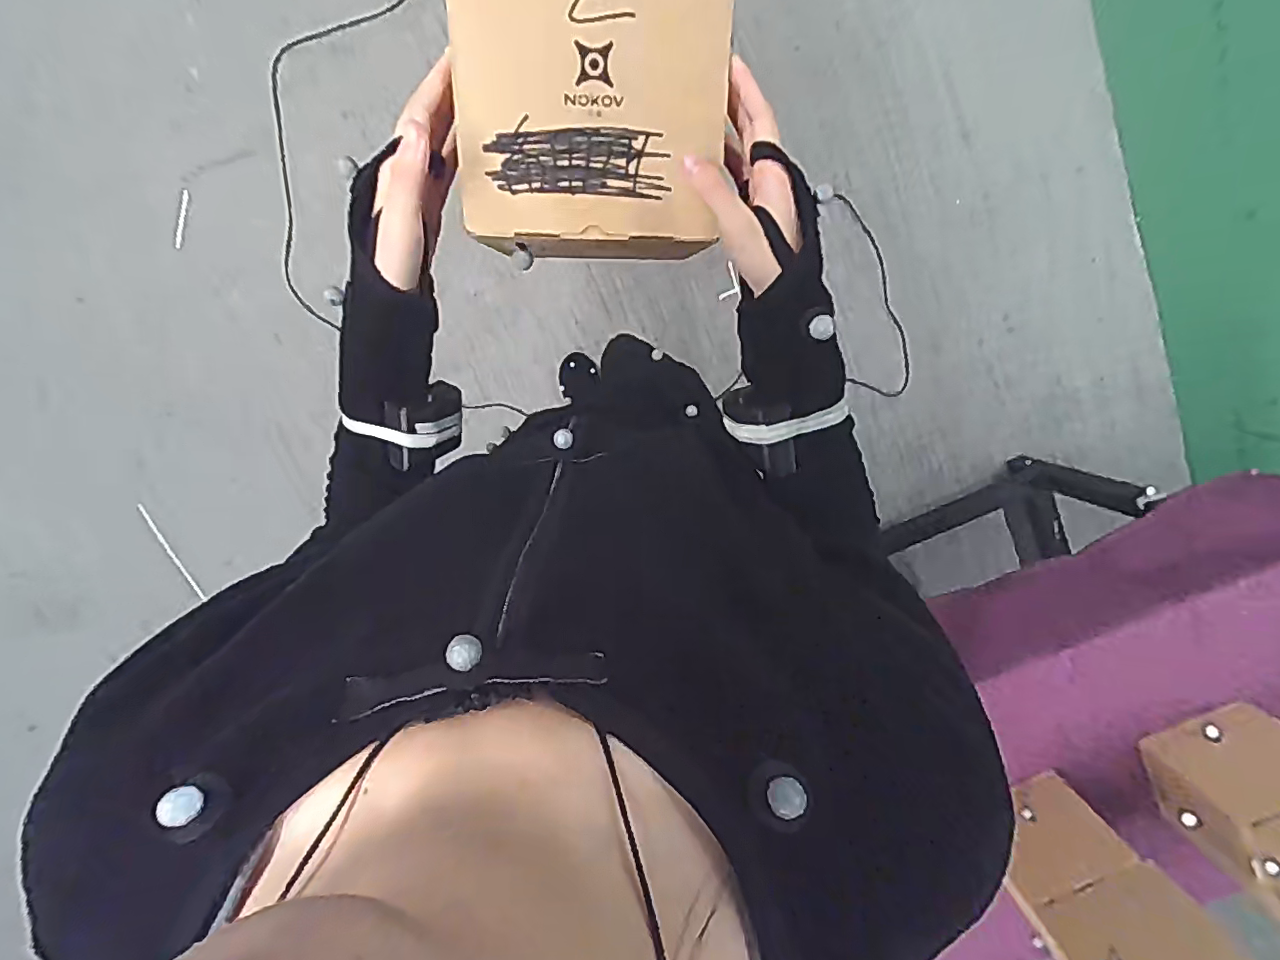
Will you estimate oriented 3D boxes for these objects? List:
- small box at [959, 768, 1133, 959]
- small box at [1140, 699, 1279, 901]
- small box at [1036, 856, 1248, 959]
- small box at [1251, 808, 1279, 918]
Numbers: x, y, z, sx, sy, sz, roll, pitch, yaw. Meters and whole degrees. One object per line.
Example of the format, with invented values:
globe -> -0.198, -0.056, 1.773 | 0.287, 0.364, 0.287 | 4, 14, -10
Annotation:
small box -> 0.653, 0.605, 0.853 | 0.168, 0.176, 0.179 | -31, 102, 6
small box -> 0.920, 0.474, 0.822 | 0.179, 0.176, 0.168 | -26, 103, 6
small box -> 0.655, 0.641, 0.693 | 0.179, 0.176, 0.168 | -30, 103, 6
small box -> 0.921, 0.515, 0.663 | 0.179, 0.176, 0.168 | -26, 103, 5
